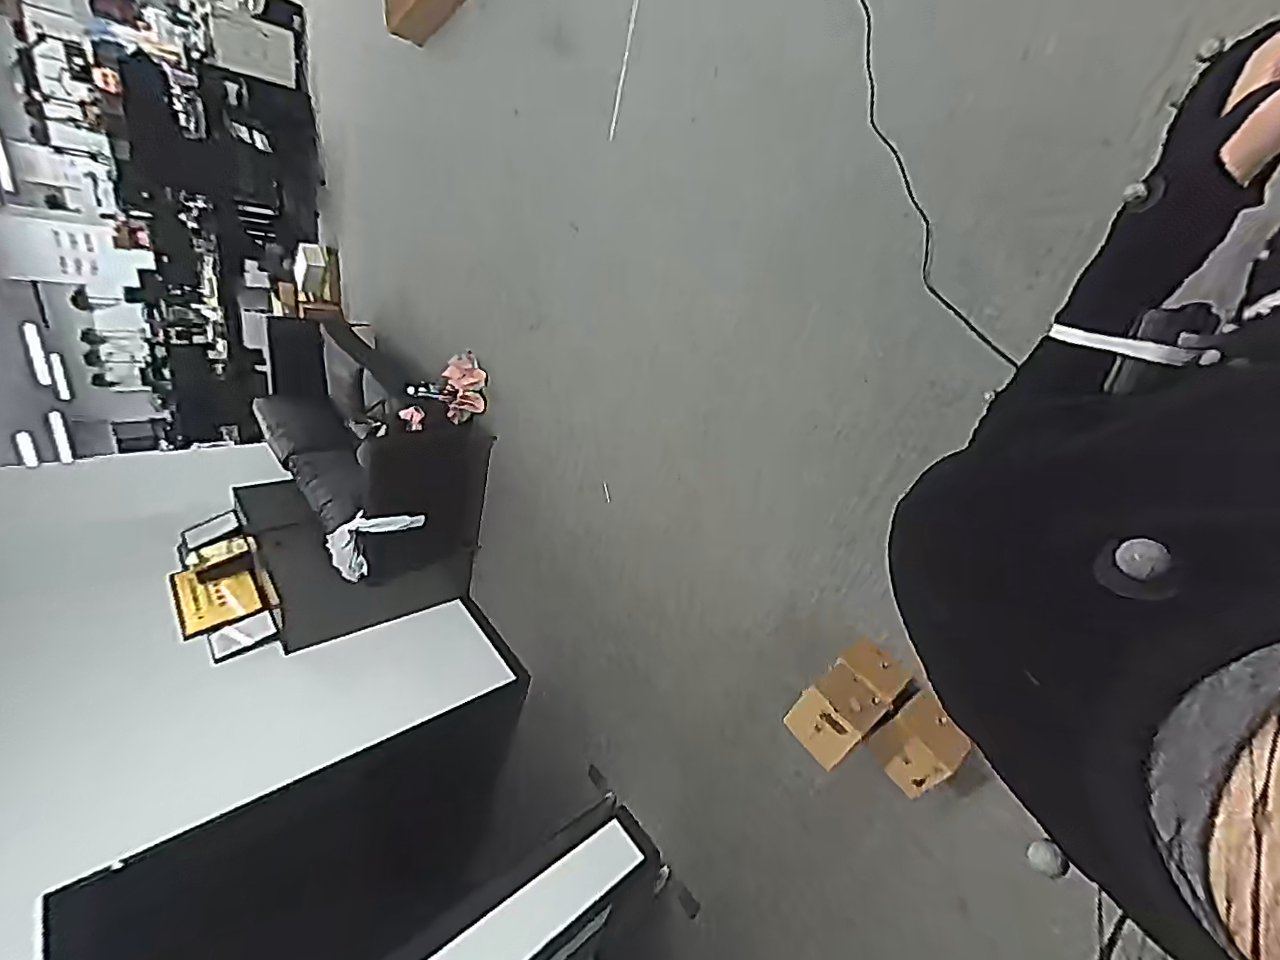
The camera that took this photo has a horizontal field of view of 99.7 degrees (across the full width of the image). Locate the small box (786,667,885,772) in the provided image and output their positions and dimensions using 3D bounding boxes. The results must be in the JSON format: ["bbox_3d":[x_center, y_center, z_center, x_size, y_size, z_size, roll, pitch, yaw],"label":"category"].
[{"bbox_3d":[0.540,0.647,1.480,0.168,0.176,0.179,44,128,32],"label":"small box"}]

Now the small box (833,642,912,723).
[{"bbox_3d":[0.662,0.613,1.587,0.168,0.176,0.179,39,124,36],"label":"small box"}]
